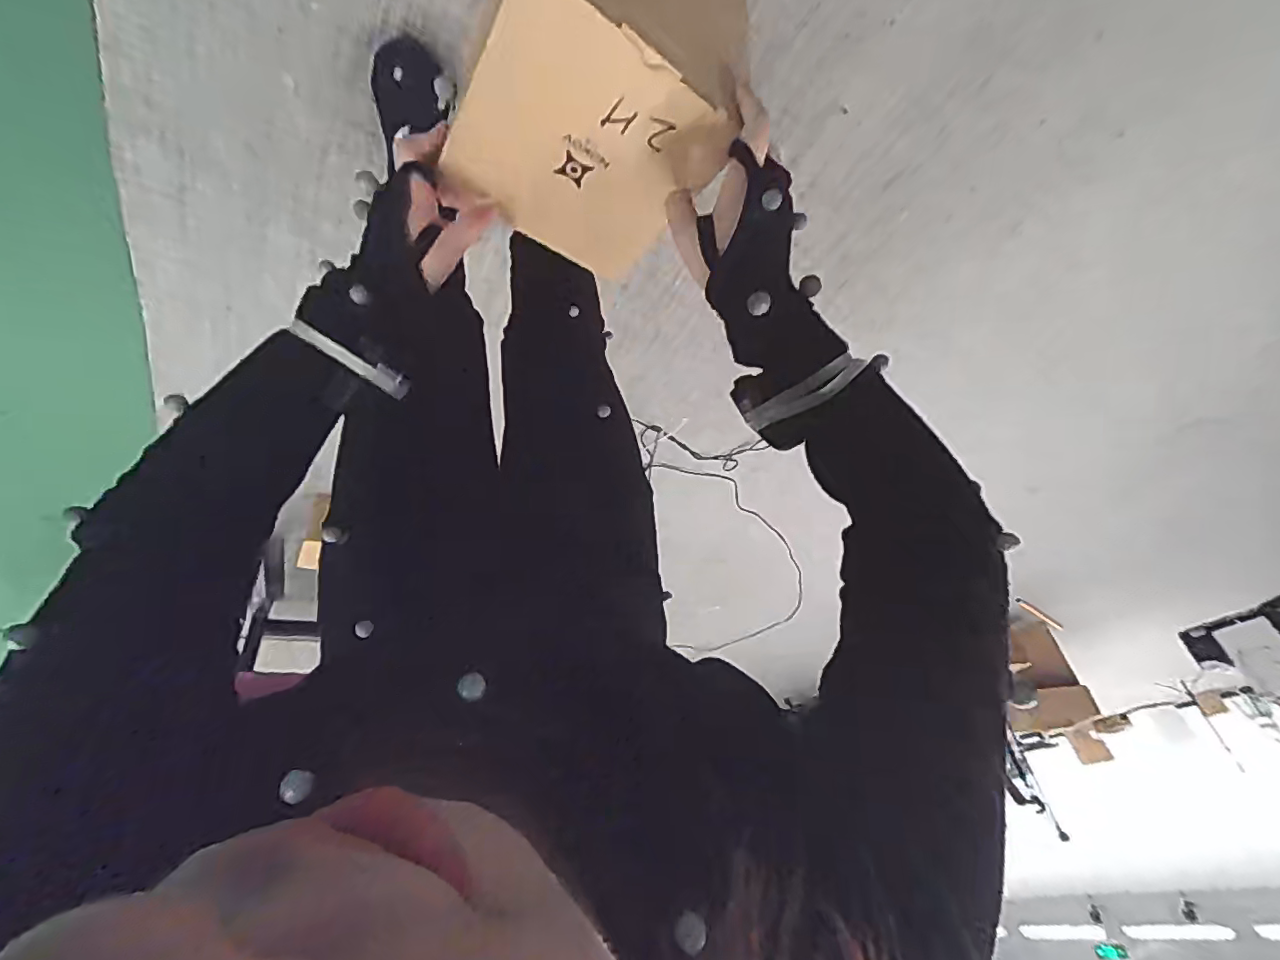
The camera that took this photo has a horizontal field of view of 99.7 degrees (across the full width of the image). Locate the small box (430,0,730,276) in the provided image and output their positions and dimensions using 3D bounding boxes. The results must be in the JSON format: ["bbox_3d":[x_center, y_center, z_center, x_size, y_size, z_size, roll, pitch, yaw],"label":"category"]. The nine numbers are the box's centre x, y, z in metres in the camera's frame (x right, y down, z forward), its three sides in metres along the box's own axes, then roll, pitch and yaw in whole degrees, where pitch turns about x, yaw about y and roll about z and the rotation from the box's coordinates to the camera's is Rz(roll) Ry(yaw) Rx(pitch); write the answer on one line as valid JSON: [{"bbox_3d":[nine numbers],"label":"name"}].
[{"bbox_3d":[-0.042,-0.308,0.425,0.168,0.176,0.179,19,154,-31],"label":"small box"}]
